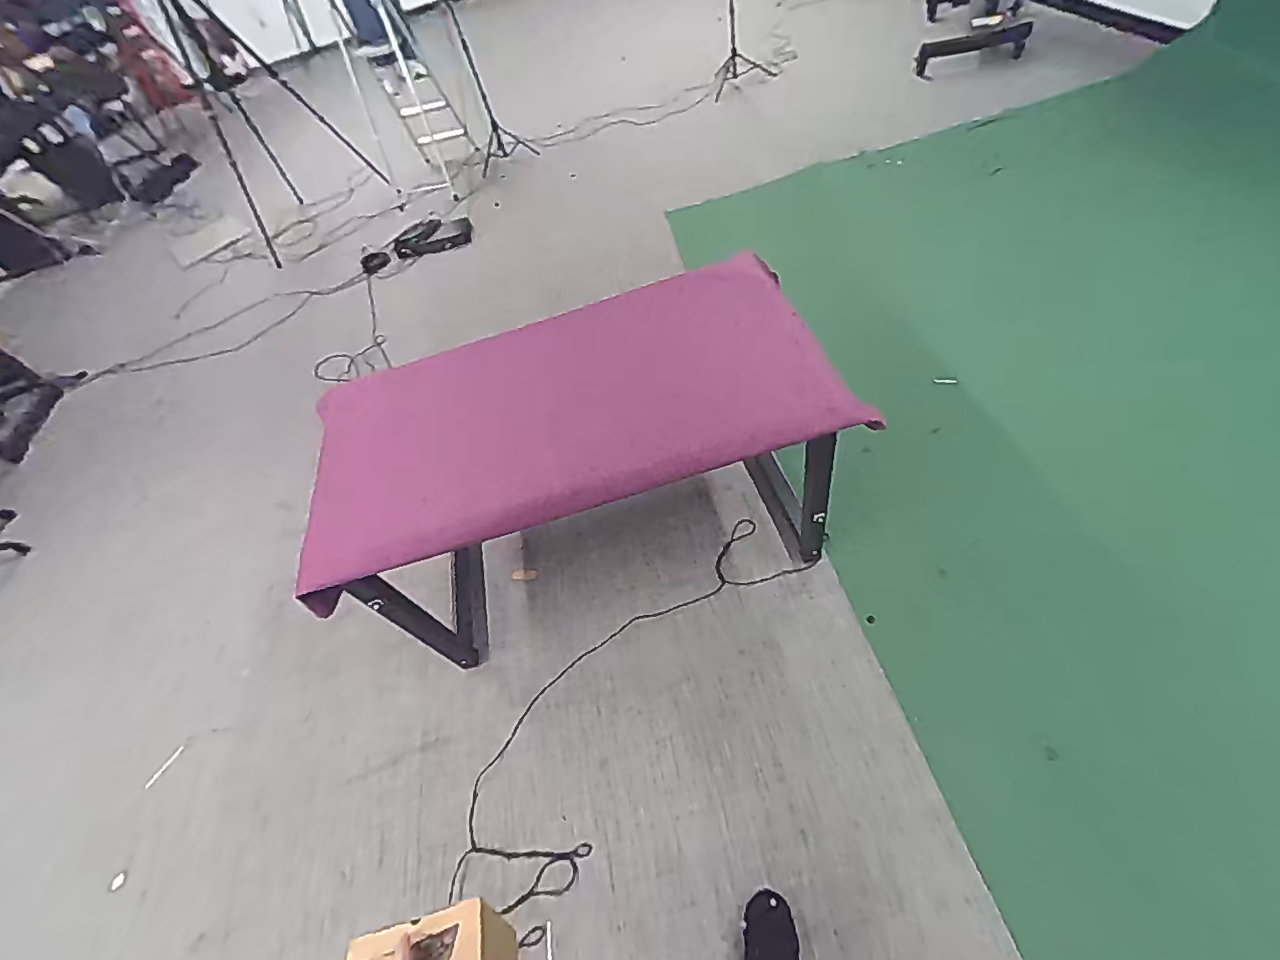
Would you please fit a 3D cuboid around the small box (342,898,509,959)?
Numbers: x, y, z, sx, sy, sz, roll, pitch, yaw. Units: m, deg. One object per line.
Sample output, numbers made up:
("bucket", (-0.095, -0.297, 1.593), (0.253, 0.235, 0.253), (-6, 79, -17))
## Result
("small box", (-0.257, 0.662, 0.659), (0.168, 0.176, 0.179), (-15, 39, -7))
